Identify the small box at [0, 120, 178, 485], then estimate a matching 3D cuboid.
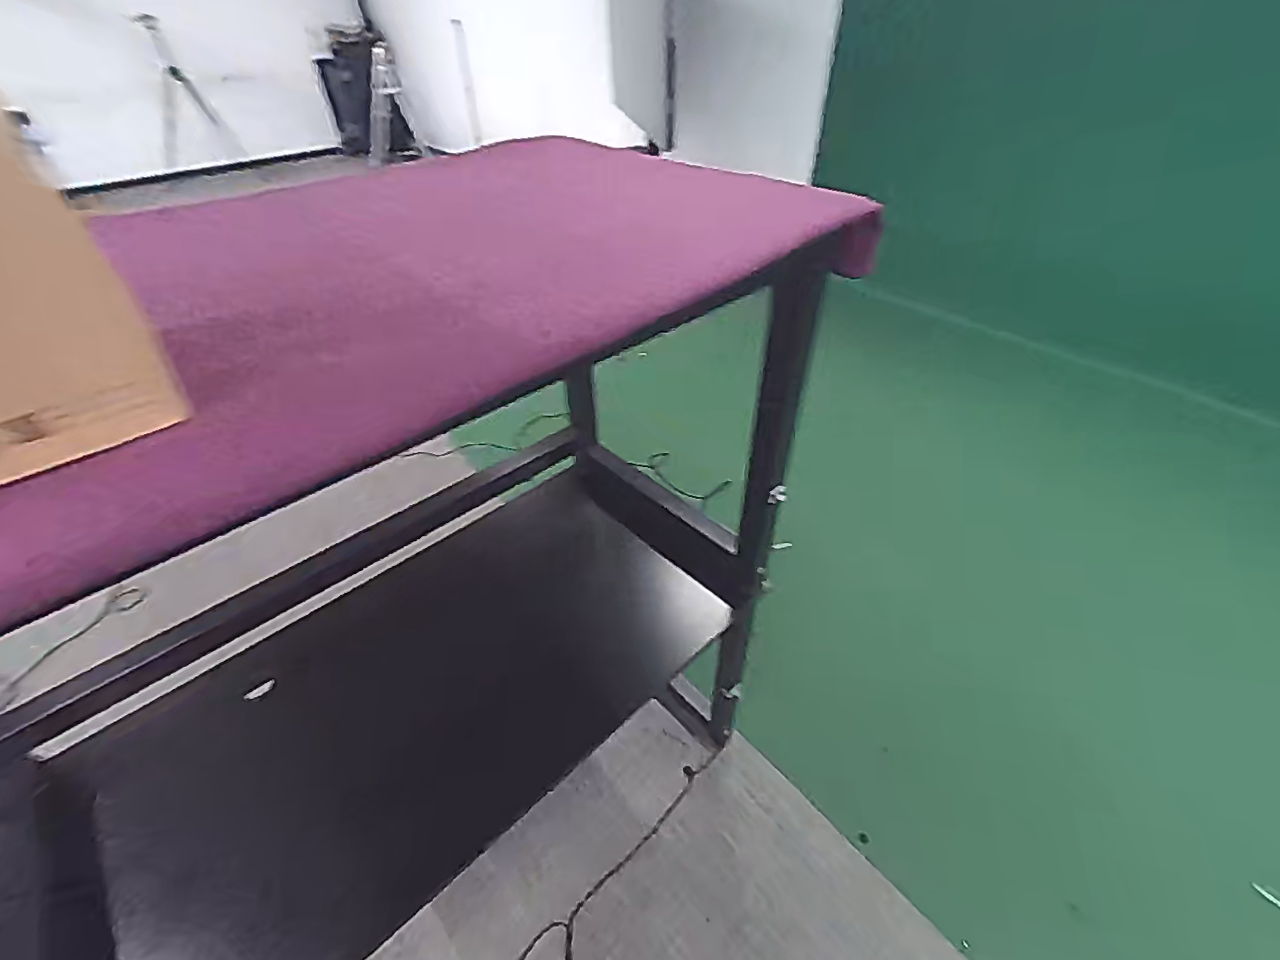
[{"bbox_3d":[-0.385,-0.096,0.278,0.168,0.176,0.179,-32,48,-29],"label":"small box"}]
